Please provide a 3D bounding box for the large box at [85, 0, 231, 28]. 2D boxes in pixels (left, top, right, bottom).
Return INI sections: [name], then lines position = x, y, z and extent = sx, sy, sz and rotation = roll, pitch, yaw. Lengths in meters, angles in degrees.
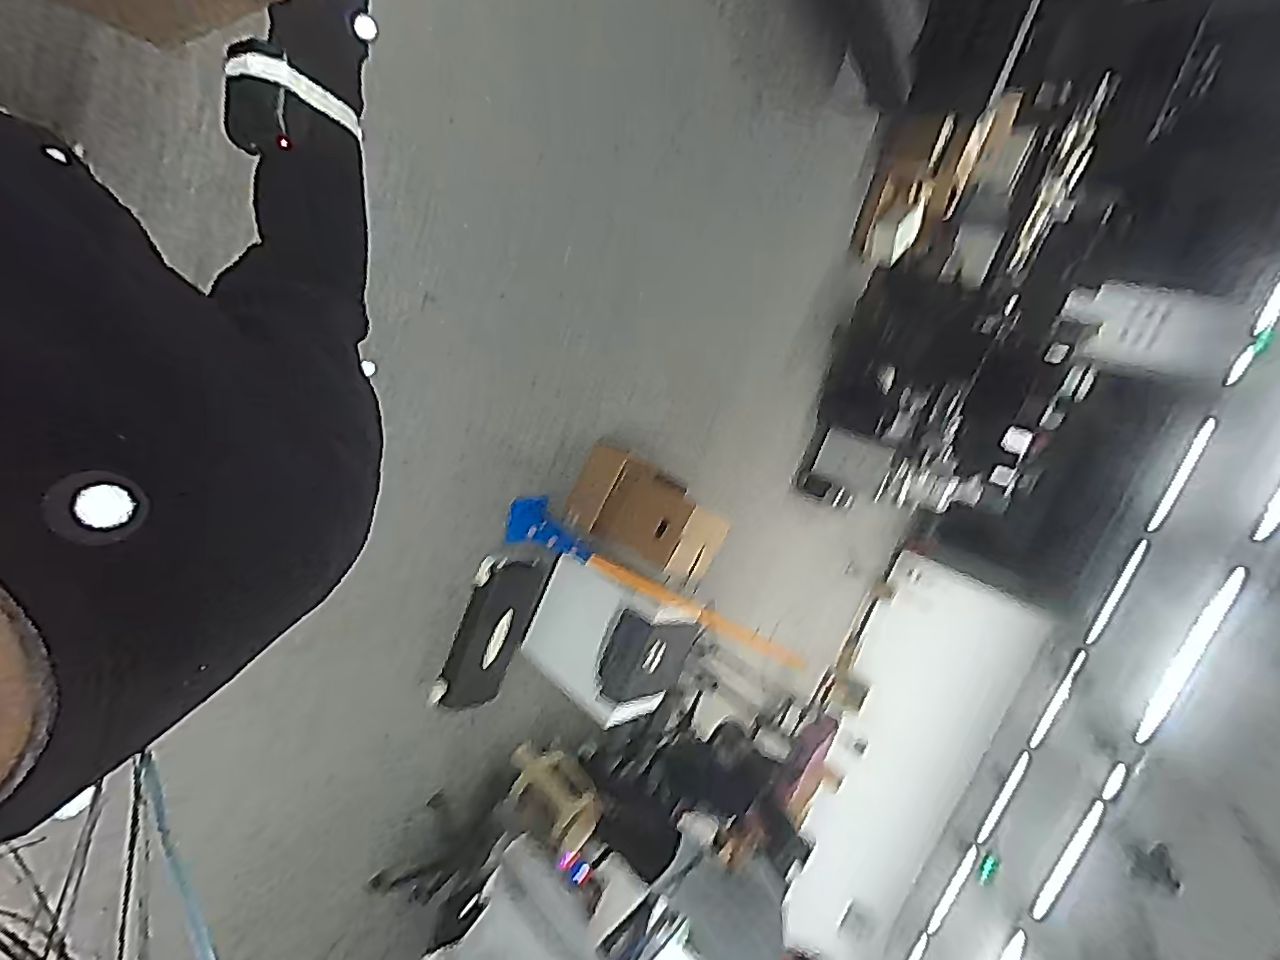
[large box]
position = -0.464, -0.525, 0.276
extent = 0.408, 0.320, 0.320
rotation = -8, 116, -50
